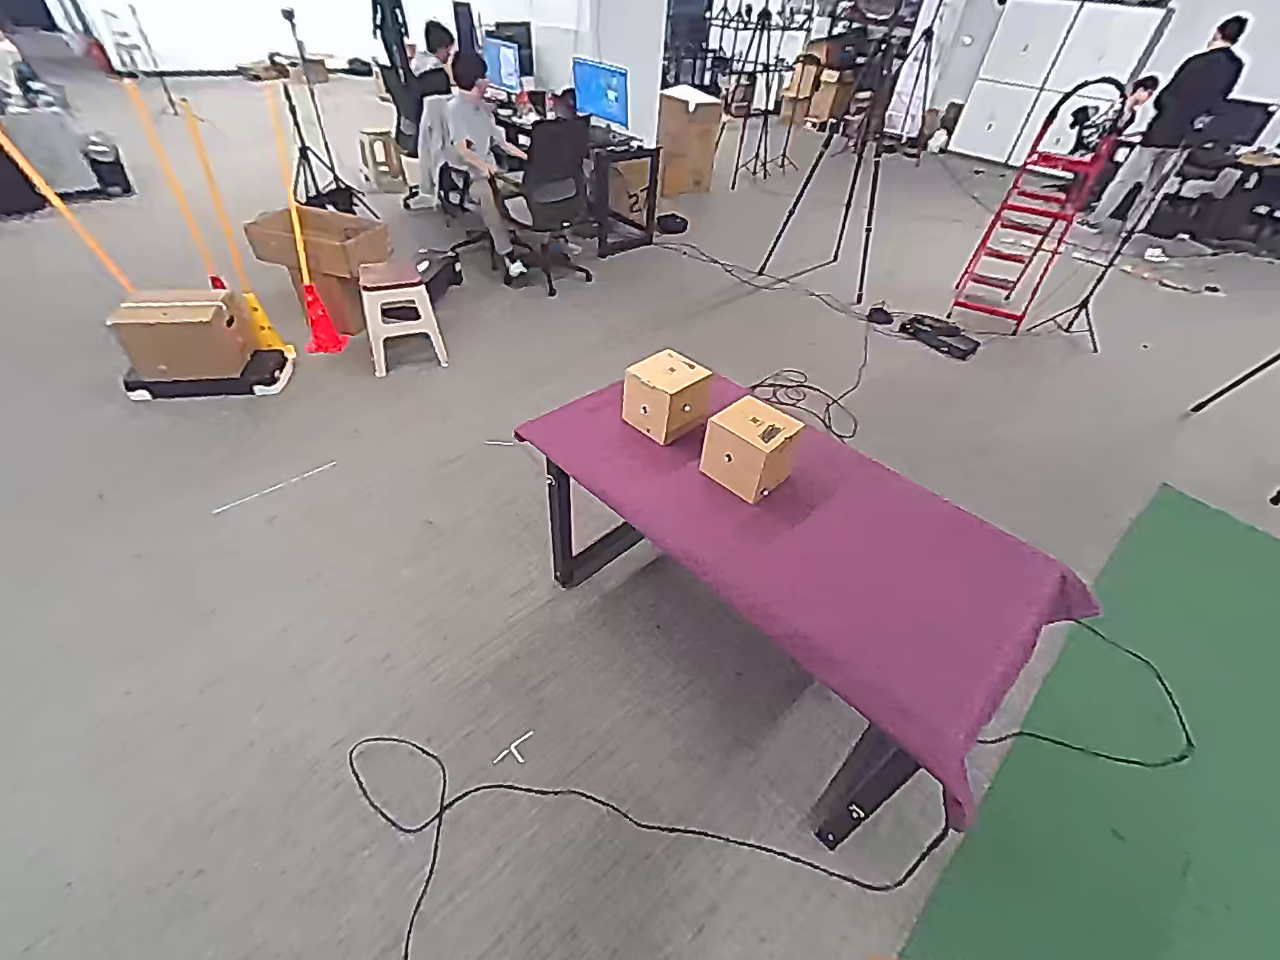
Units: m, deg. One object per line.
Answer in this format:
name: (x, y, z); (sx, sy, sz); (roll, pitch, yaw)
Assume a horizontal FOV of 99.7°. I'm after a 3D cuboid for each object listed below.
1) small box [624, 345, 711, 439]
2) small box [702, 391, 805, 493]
small box: (0.073, -0.241, 1.489); (0.168, 0.176, 0.179); (36, 52, 28)
small box: (0.276, -0.089, 1.345); (0.179, 0.176, 0.168); (35, 51, 30)
